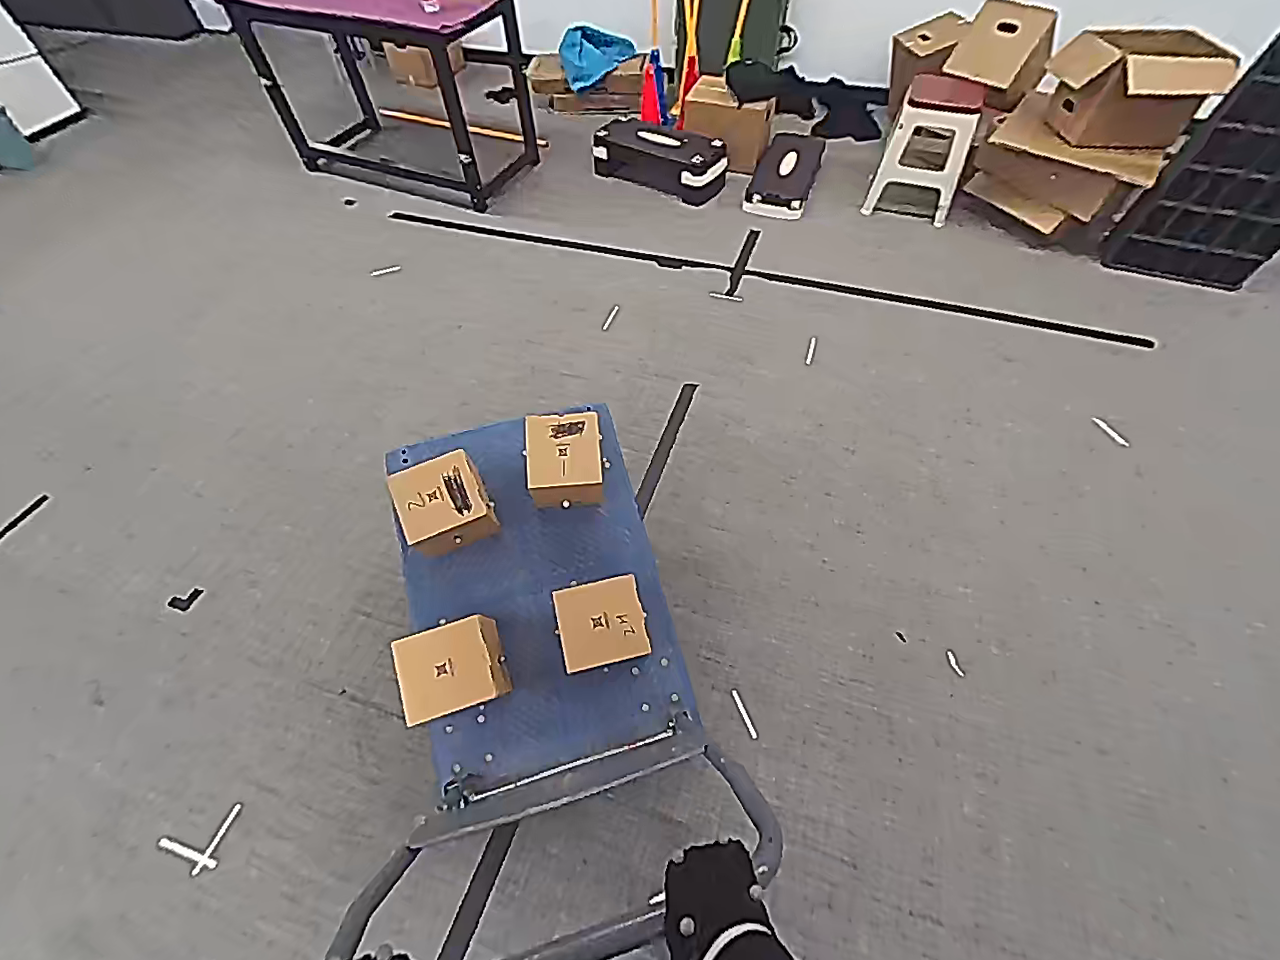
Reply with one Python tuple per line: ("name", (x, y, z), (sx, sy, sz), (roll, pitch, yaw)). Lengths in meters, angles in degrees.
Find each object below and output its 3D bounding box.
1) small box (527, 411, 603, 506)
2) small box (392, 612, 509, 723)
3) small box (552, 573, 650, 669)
("small box", (-0.176, -0.048, 1.286), (0.168, 0.176, 0.179), (-4, 73, -5))
("small box", (-0.388, 0.389, 1.128), (0.179, 0.176, 0.168), (-16, 74, -10))
("small box", (-0.084, 0.310, 1.174), (0.179, 0.176, 0.168), (-11, 73, -8))
